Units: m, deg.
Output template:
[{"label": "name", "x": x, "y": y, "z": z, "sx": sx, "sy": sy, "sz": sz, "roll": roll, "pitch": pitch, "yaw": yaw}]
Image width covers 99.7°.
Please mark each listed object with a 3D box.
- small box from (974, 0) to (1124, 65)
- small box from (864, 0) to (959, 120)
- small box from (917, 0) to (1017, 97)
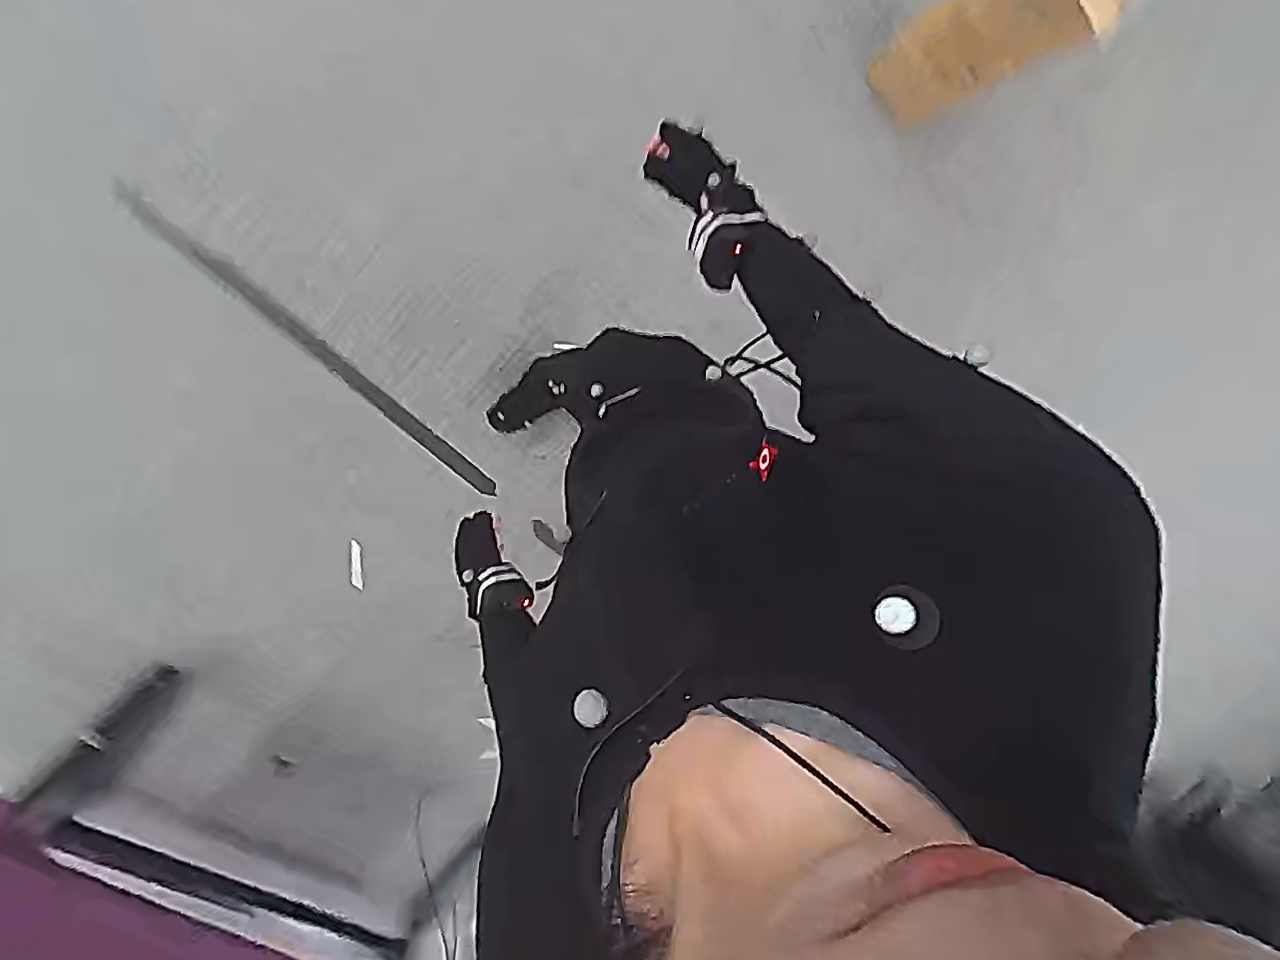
[{"label": "small box", "x": 0.719, "y": -0.865, "z": 0.918, "sx": 0.179, "sy": 0.176, "sz": 0.168, "roll": 37, "pitch": 100, "yaw": -18}, {"label": "small box", "x": 0.653, "y": -0.958, "z": 1.224, "sx": 0.179, "sy": 0.176, "sz": 0.168, "roll": 33, "pitch": 101, "yaw": -16}, {"label": "small box", "x": 0.687, "y": -0.915, "z": 1.071, "sx": 0.168, "sy": 0.176, "sz": 0.179, "roll": 36, "pitch": 99, "yaw": -19}]
